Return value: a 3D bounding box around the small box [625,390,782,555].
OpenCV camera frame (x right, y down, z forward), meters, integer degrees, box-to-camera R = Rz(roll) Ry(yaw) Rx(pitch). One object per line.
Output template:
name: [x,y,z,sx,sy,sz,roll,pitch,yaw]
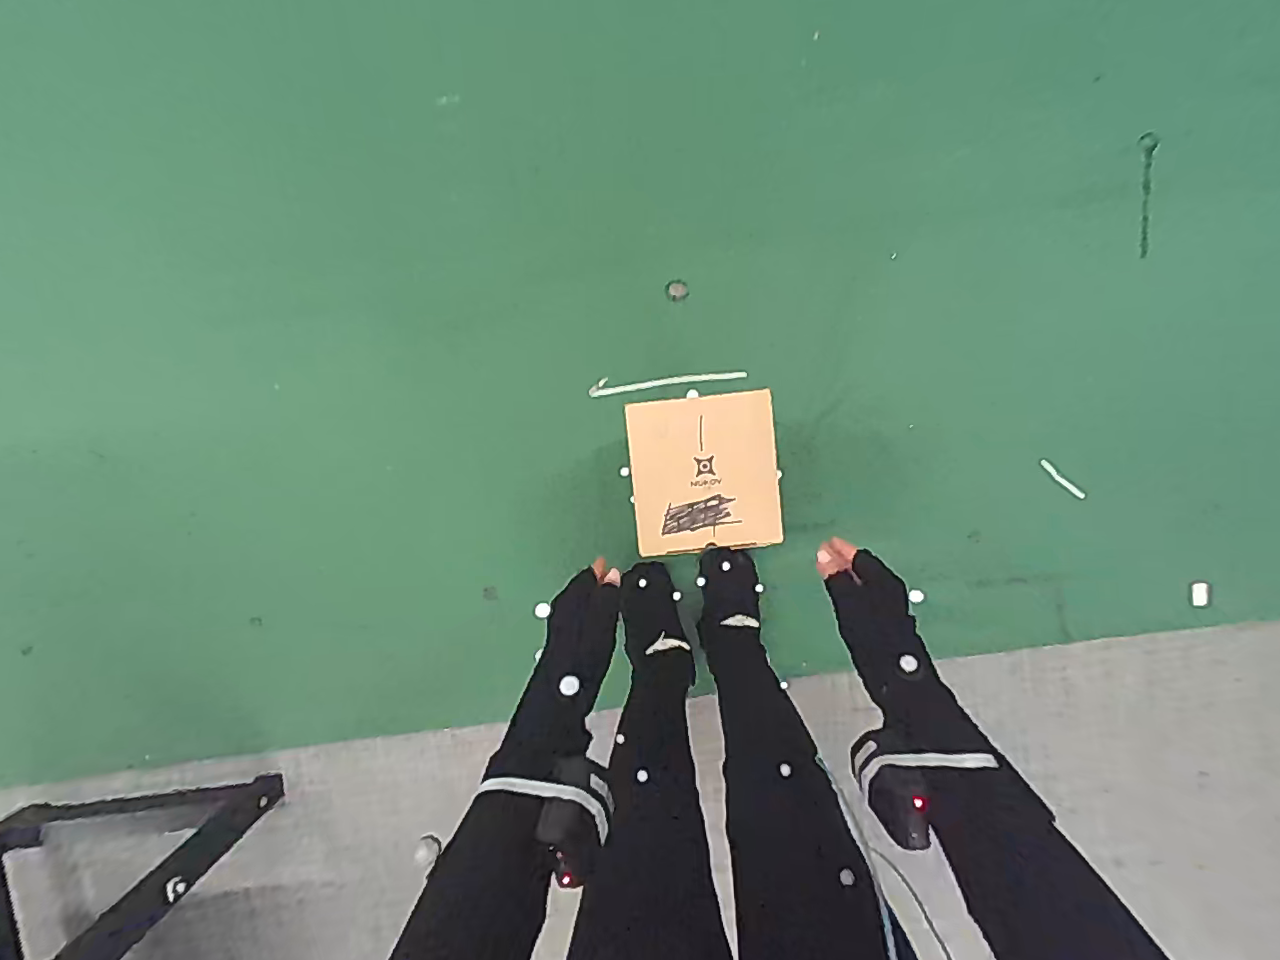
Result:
small box: [0.075,-0.013,0.688,0.168,0.176,0.179,-6,93,1]
